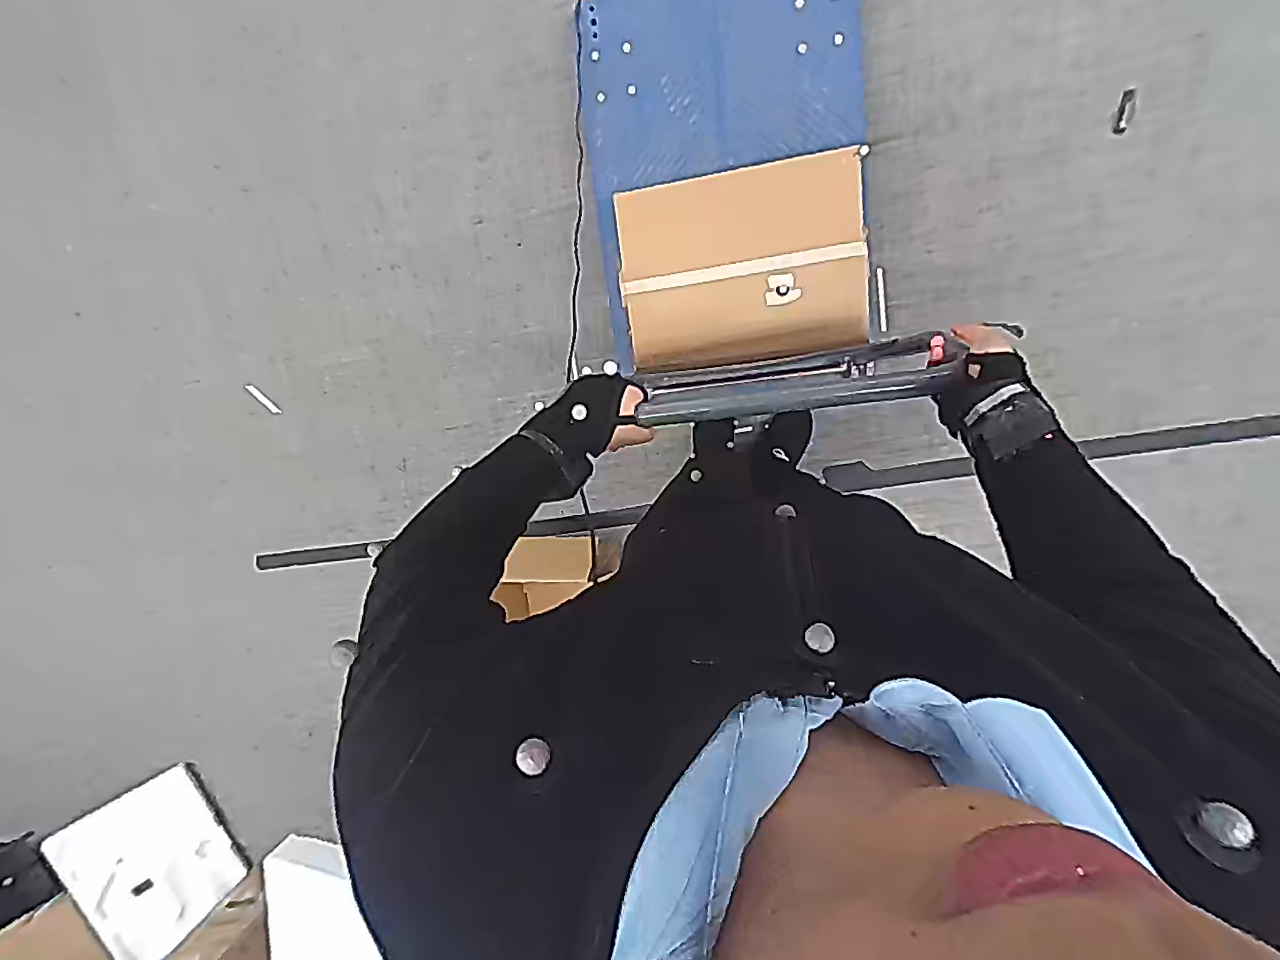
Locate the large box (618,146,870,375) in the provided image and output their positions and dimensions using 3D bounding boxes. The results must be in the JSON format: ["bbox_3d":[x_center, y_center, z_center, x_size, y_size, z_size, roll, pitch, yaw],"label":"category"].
[{"bbox_3d":[0.199,-0.394,1.072,0.408,0.320,0.320,-6,102,11],"label":"large box"}]
